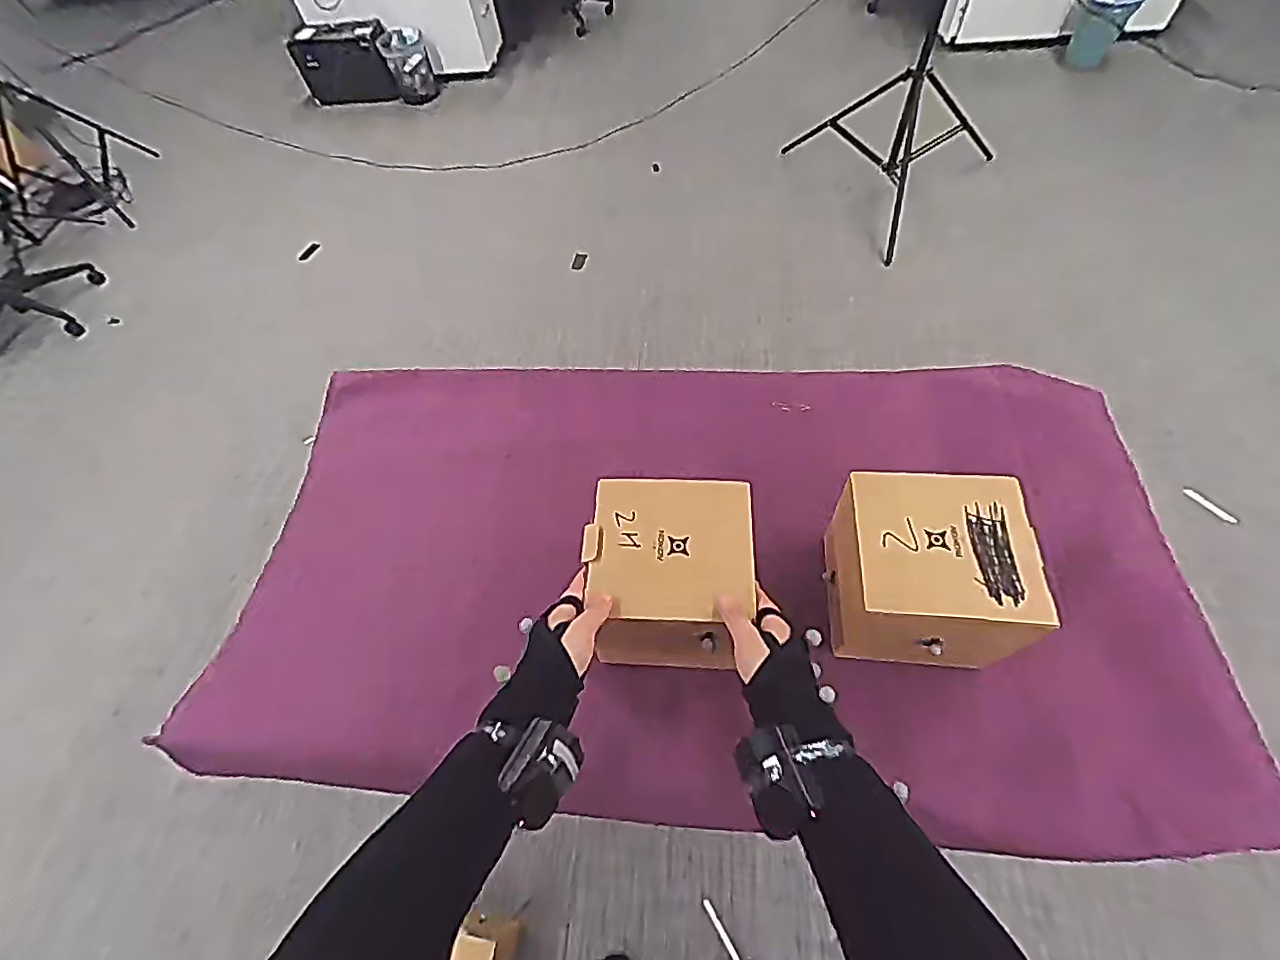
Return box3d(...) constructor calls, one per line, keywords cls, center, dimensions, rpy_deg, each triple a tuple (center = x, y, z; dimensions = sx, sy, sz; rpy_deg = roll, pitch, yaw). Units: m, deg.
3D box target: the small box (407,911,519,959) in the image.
box3d(cls="small box", center=(-0.347, 0.958, 1.030), dimensions=(0.168, 0.176, 0.179), rpy_deg=(7, 59, 10))
